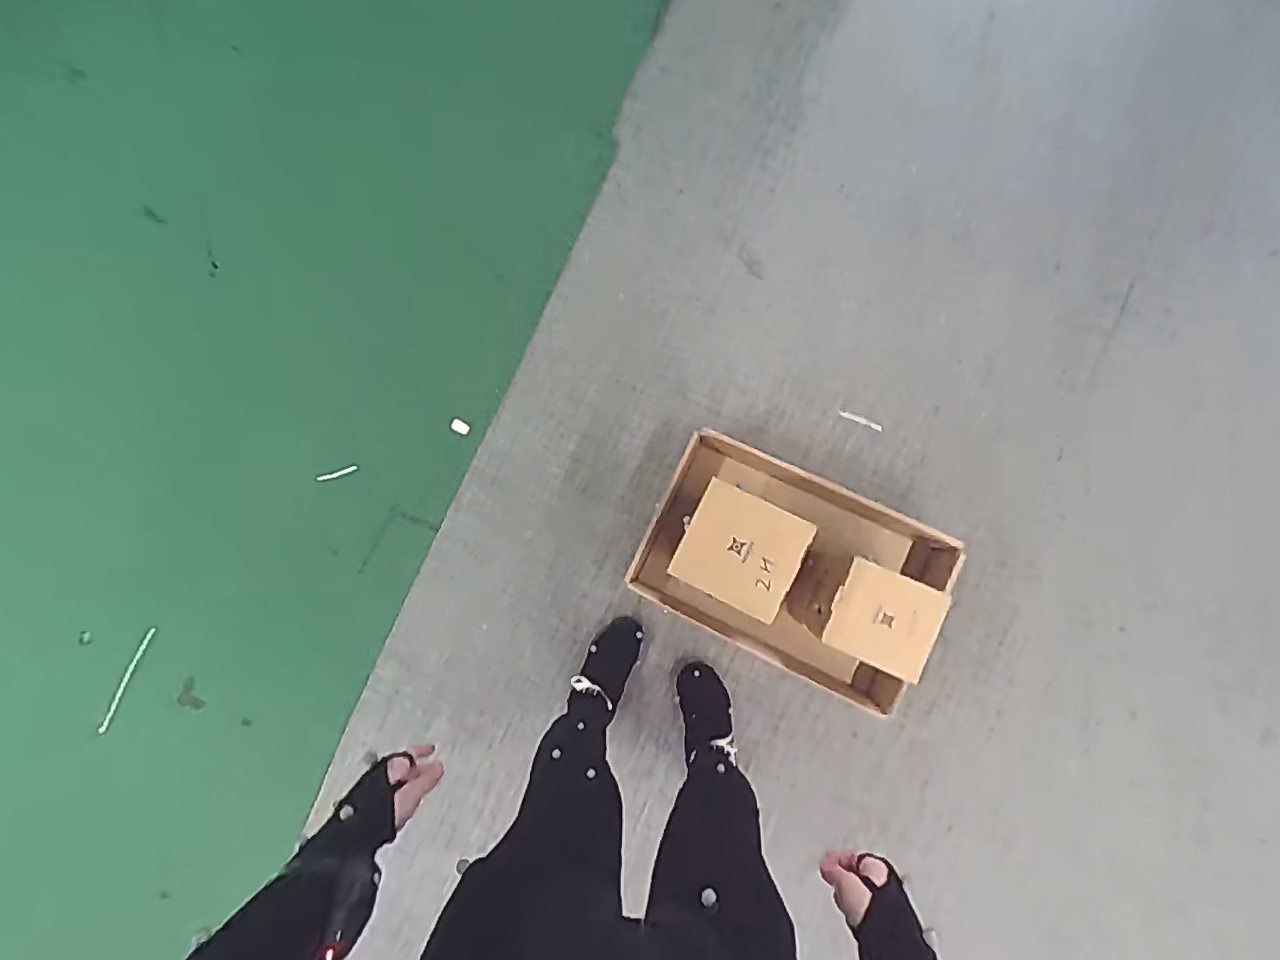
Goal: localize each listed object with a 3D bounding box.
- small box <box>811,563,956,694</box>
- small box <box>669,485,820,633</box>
[{"bbox_3d":[0.437,0.264,1.003,0.179,0.176,0.168,24,88,9],"label":"small box"},{"bbox_3d":[0.164,0.128,0.885,0.179,0.176,0.168,26,86,9],"label":"small box"}]
